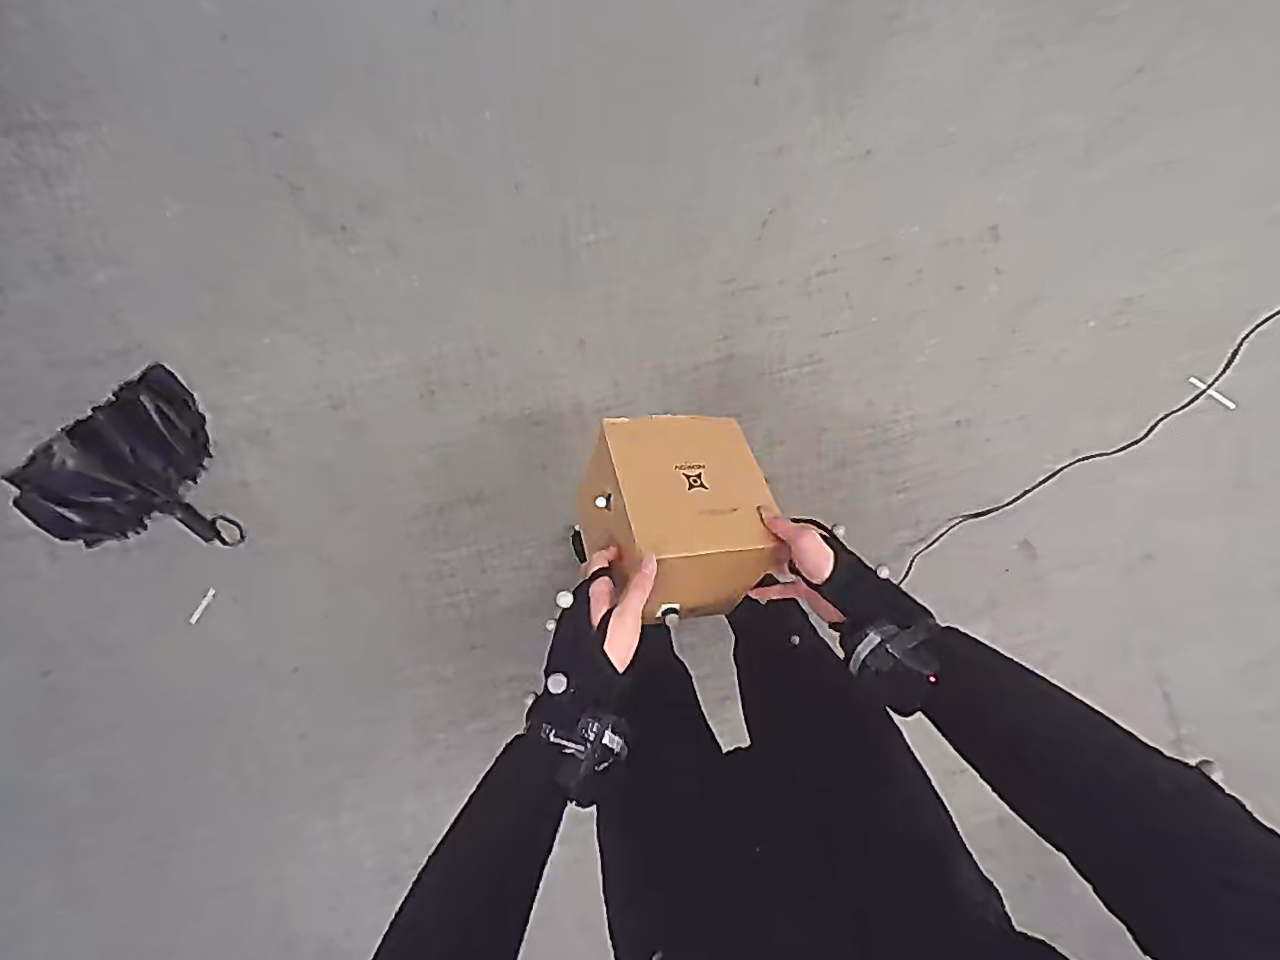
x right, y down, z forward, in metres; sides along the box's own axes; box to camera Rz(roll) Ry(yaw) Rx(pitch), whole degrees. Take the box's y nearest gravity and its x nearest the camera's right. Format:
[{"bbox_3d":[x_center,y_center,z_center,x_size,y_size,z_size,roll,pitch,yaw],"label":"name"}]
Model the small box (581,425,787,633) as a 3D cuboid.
[{"bbox_3d":[0.035,0.055,0.632,0.168,0.176,0.179,-4,54,-20],"label":"small box"}]
